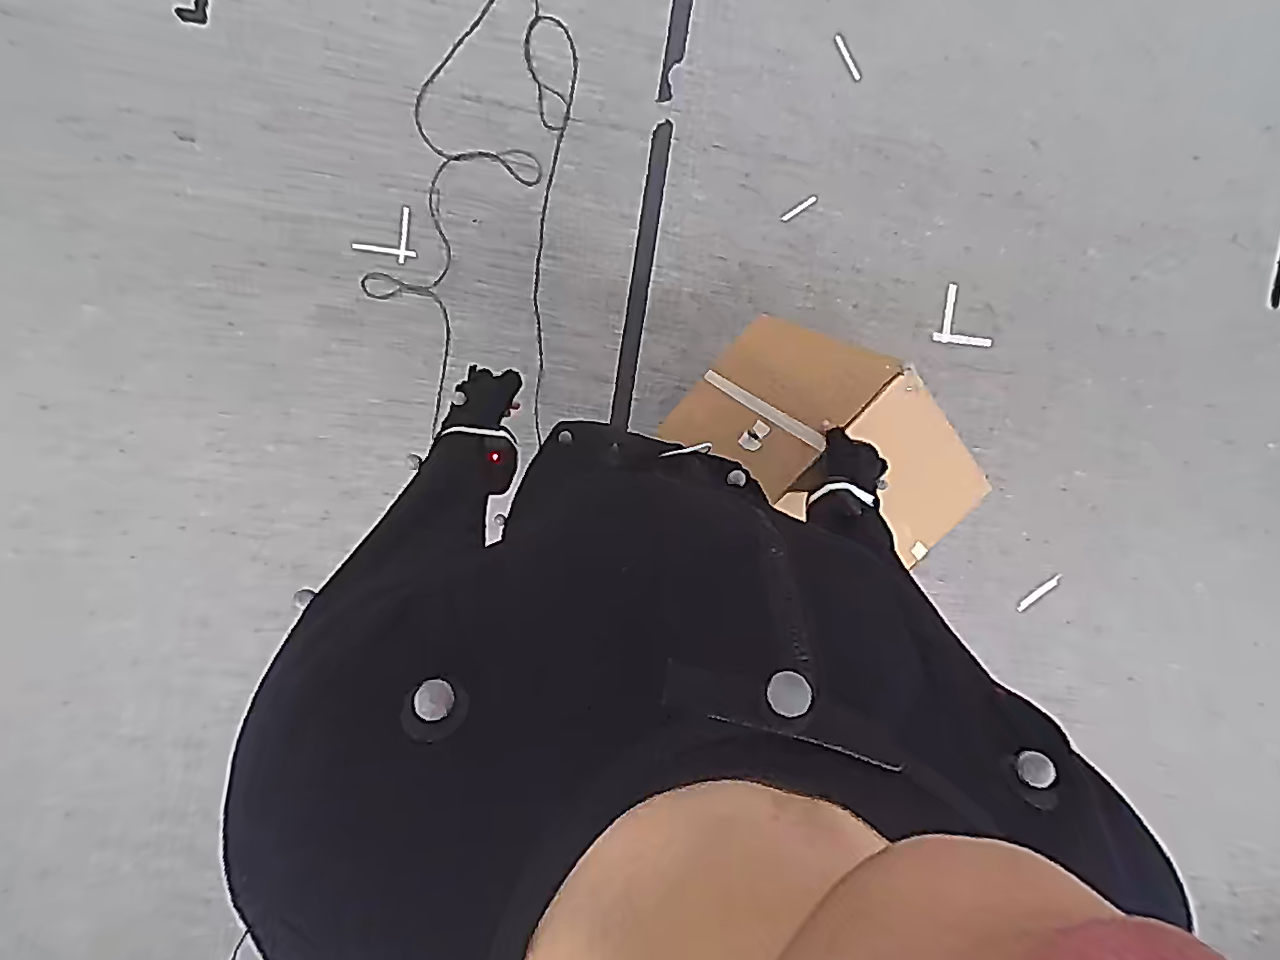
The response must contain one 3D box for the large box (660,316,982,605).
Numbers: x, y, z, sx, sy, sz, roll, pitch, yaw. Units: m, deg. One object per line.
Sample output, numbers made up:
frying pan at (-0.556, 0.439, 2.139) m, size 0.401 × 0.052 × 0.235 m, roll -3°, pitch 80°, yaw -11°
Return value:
large box at (0.303, -0.053, 0.991) m, size 0.320 × 0.408 × 0.320 m, roll 37°, pitch 99°, yaw -31°
